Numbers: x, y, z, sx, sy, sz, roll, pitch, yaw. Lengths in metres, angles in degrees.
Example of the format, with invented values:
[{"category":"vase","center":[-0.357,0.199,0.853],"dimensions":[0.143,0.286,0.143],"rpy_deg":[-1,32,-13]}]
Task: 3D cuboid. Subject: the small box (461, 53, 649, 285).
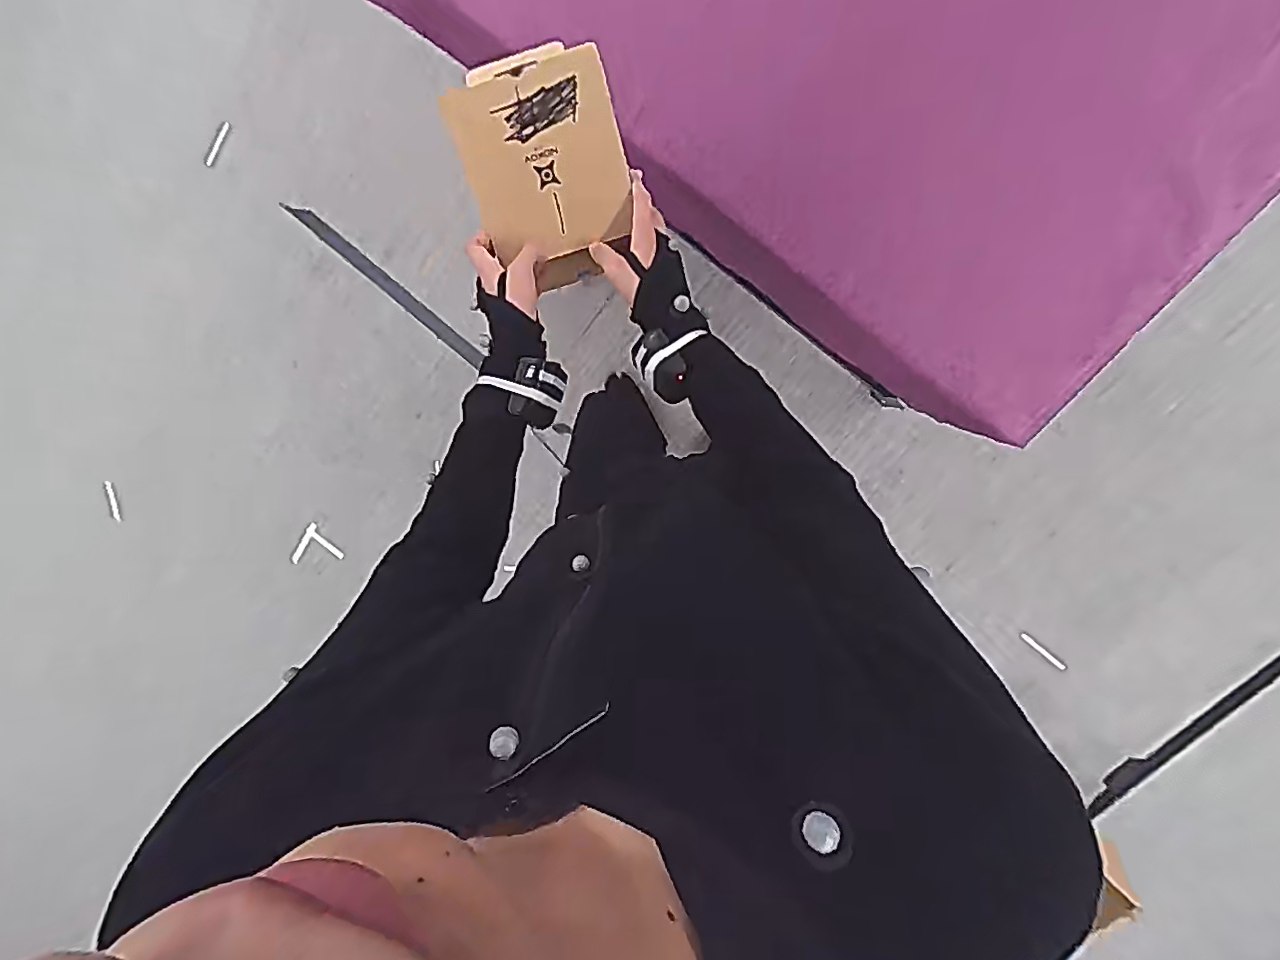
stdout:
[{"category":"small box","center":[-0.088,-0.356,0.657],"dimensions":[0.168,0.176,0.179],"rpy_deg":[-14,101,6]}]
